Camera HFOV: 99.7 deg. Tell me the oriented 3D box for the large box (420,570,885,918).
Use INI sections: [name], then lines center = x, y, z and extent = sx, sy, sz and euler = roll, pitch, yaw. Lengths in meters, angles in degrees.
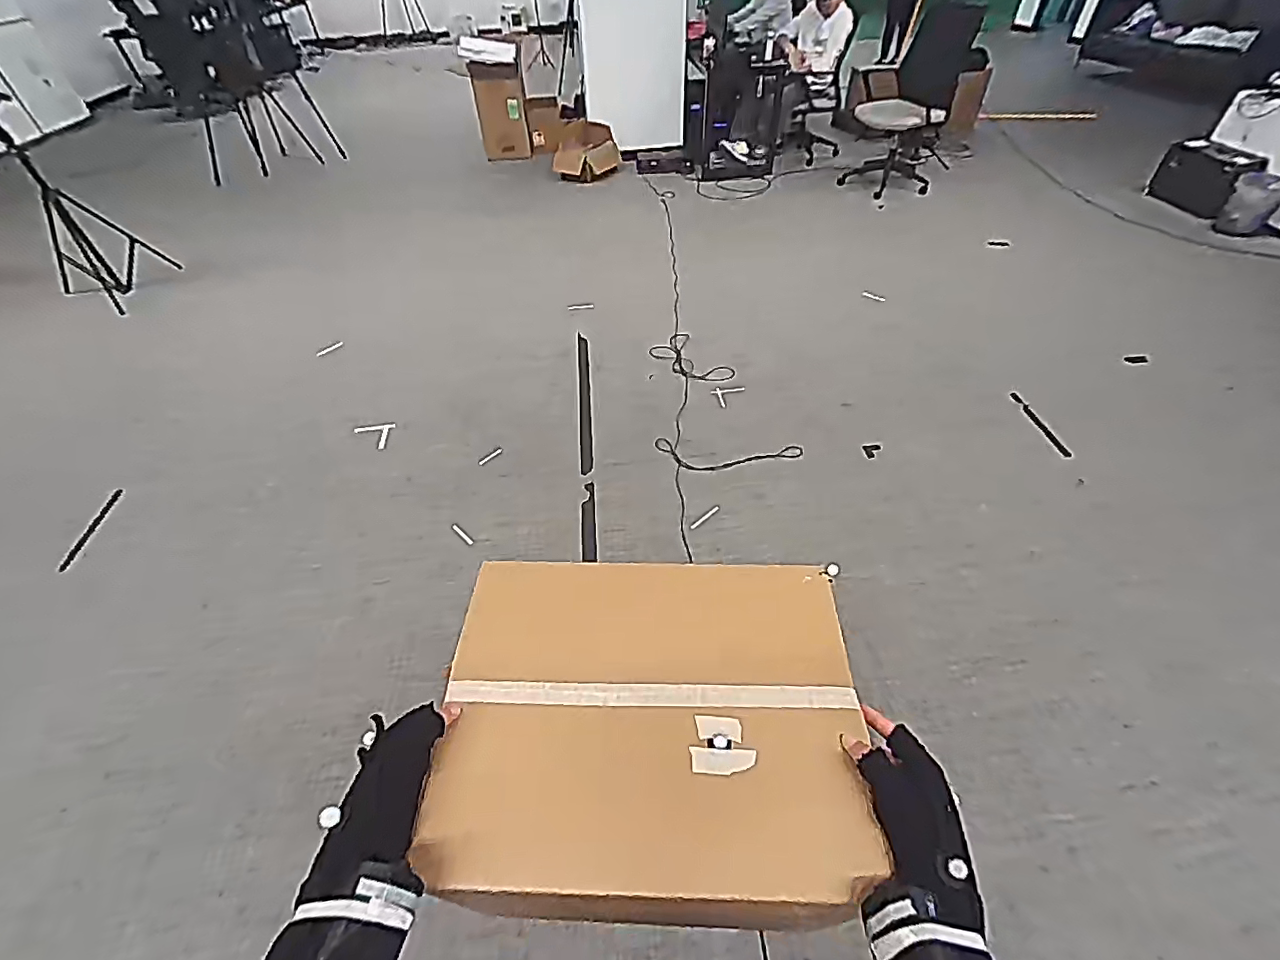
[large box]
center = 0.012, 0.325, 0.662
extent = 0.408, 0.320, 0.320
euler = 1, 48, 2
